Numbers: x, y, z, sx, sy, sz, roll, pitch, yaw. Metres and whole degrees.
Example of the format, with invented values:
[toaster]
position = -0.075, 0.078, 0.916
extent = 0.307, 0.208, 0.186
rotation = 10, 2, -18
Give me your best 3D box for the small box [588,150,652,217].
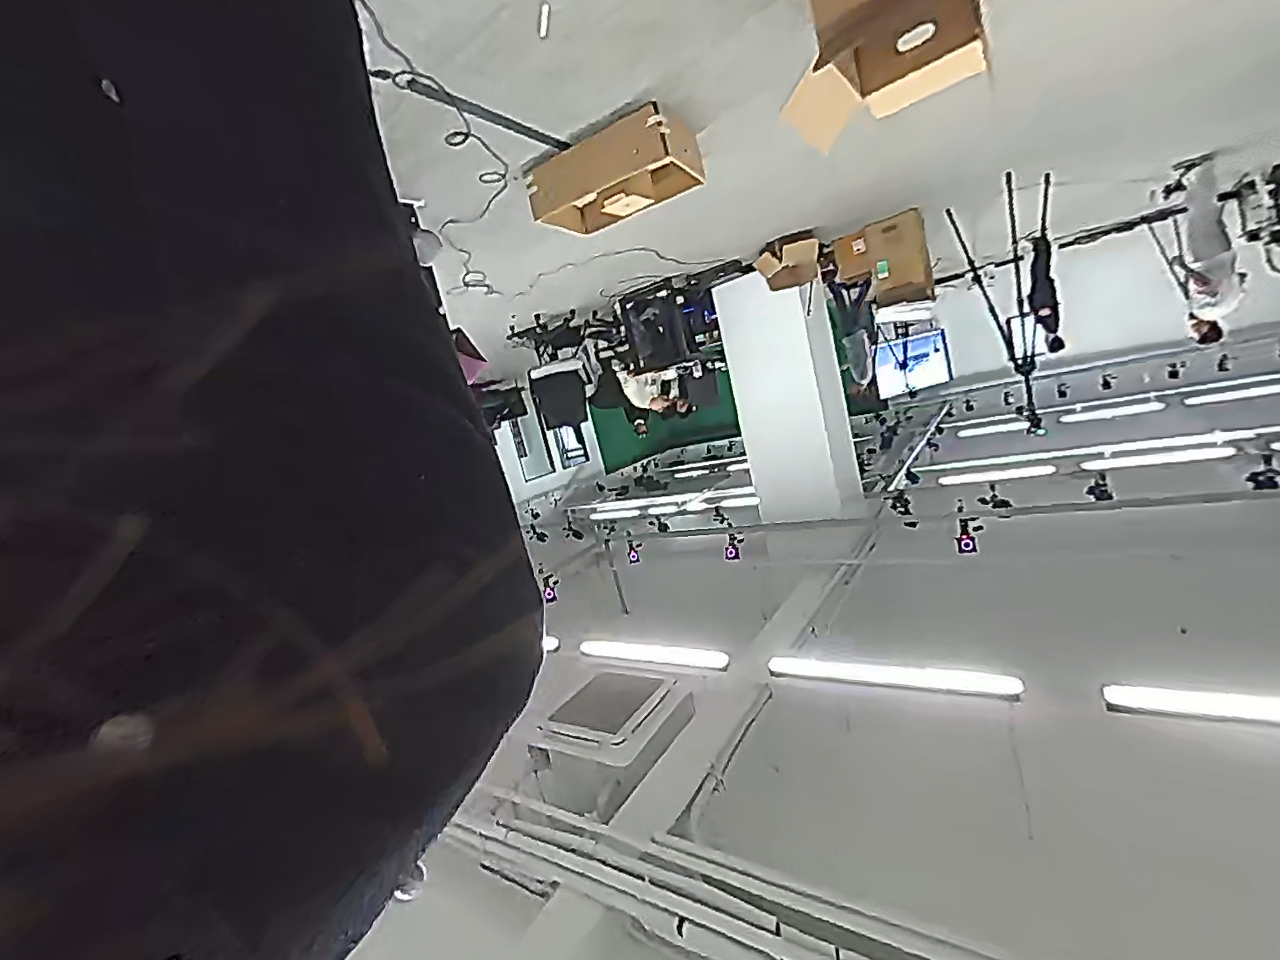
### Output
[small box]
position = -0.081, -1.173, 2.139
extent = 0.168, 0.176, 0.179
rotation = -7, -169, 35
